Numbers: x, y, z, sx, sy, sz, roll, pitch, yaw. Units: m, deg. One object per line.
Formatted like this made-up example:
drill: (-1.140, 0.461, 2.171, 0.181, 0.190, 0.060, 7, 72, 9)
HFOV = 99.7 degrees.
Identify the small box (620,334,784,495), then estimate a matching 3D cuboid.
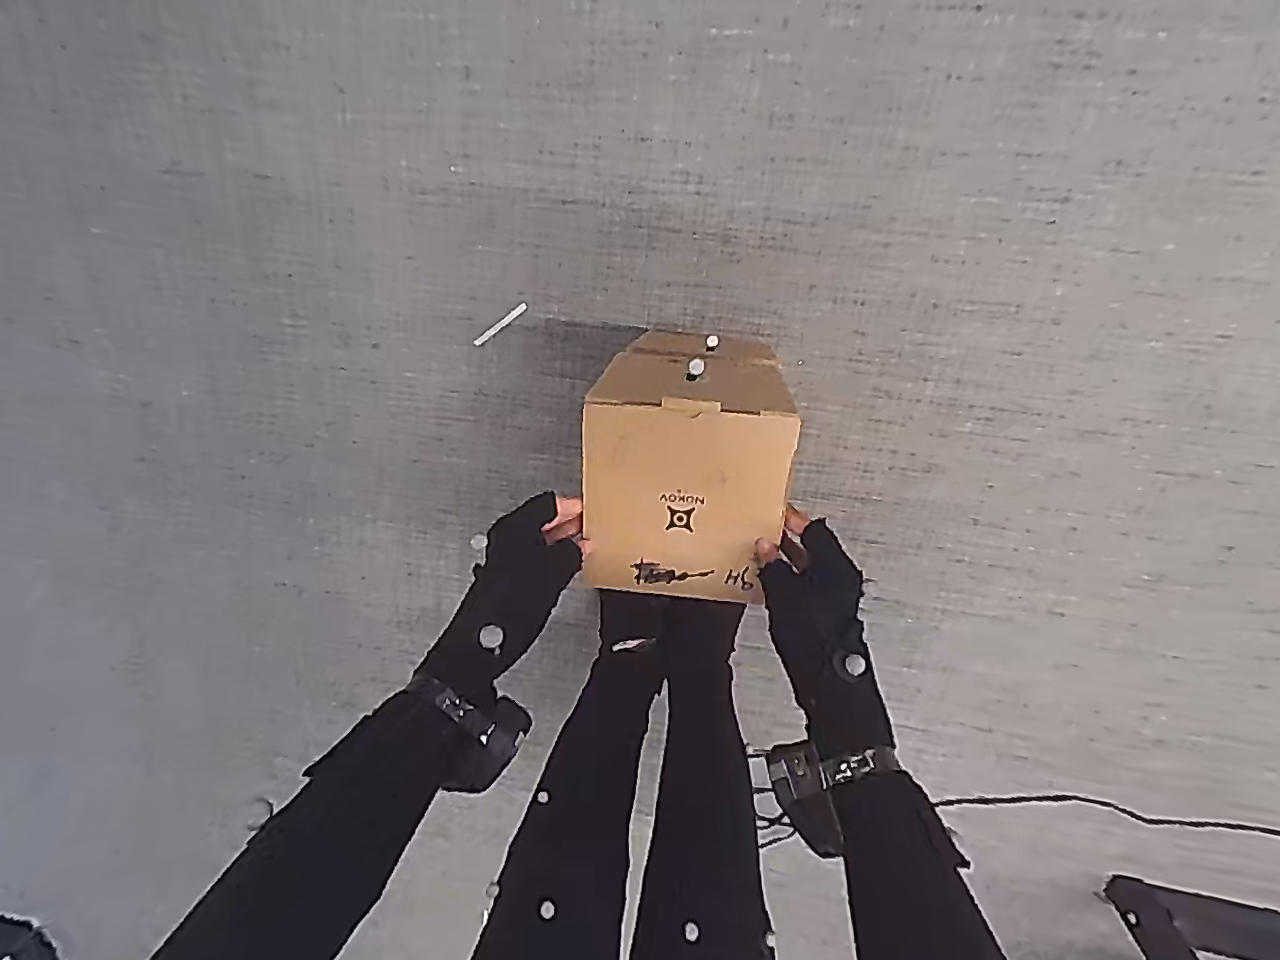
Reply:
small box: (0.080, -0.096, 0.713, 0.179, 0.176, 0.168, 8, 112, 6)
